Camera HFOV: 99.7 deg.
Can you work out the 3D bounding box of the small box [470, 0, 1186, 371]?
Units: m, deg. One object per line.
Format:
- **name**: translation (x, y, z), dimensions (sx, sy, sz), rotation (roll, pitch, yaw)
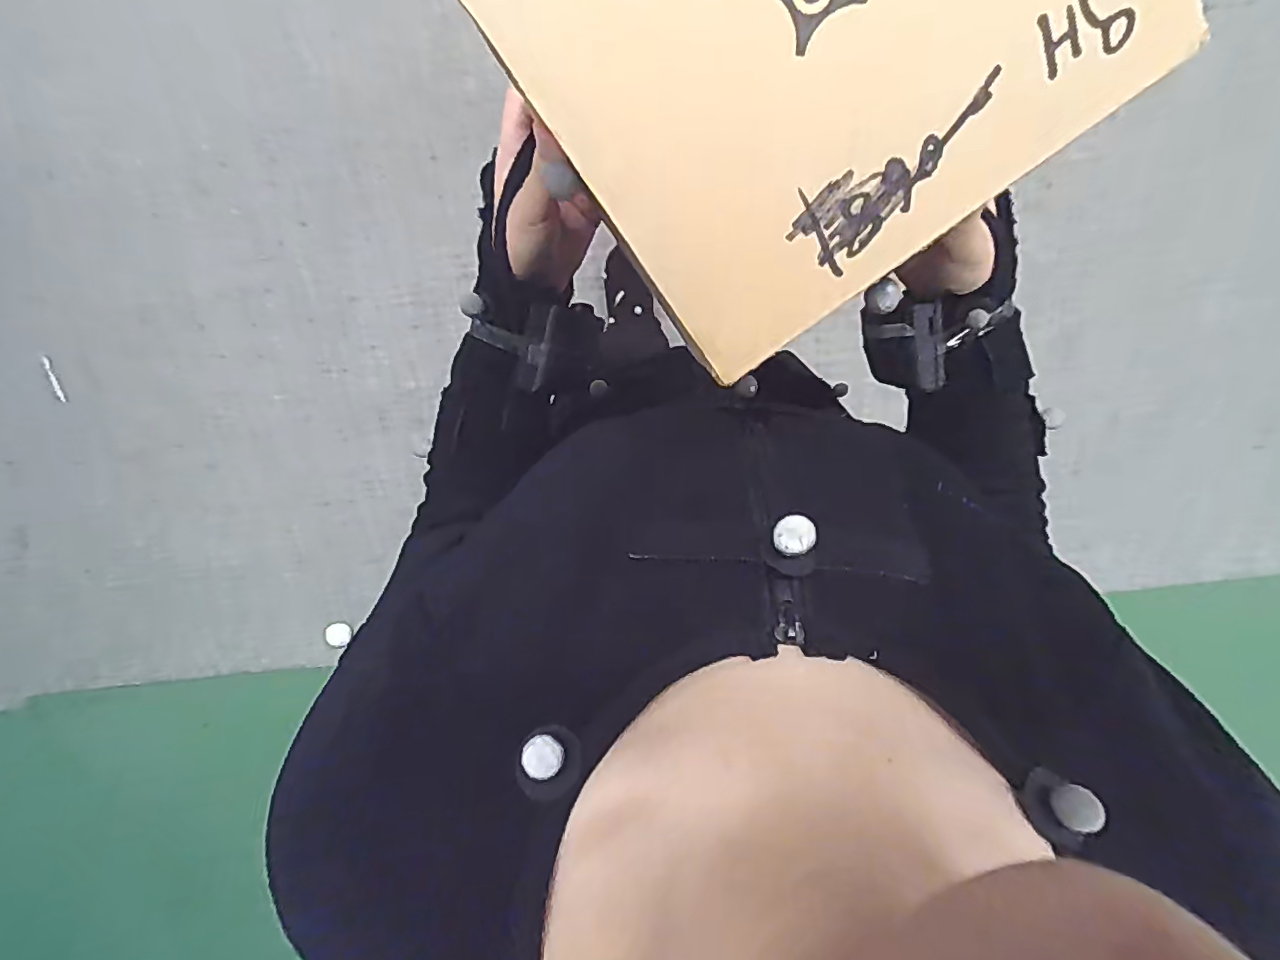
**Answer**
- **small box**: translation (0.051, -0.169, 0.238), dimensions (0.168, 0.176, 0.179), rotation (-35, 101, 12)
